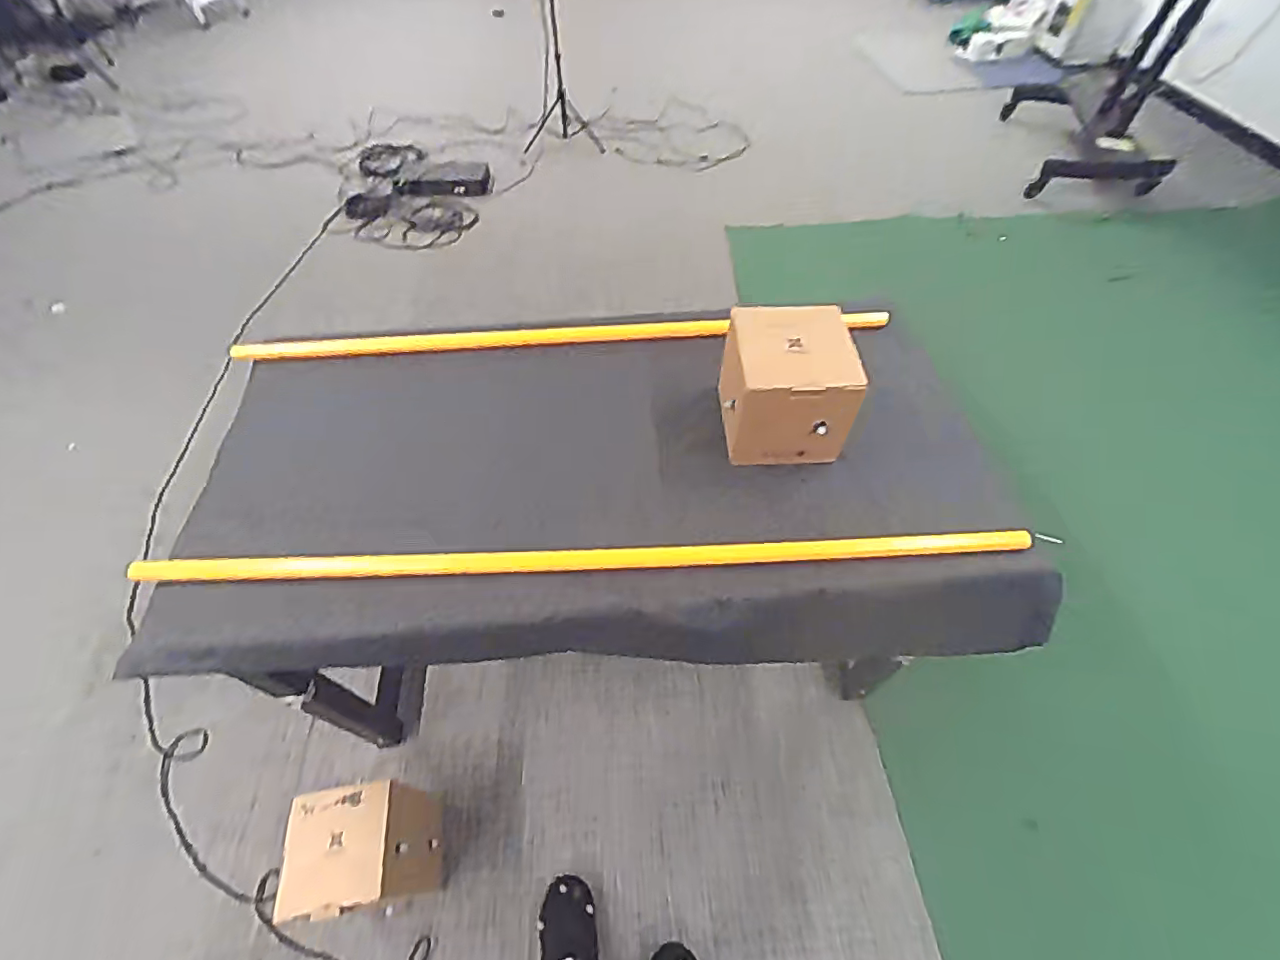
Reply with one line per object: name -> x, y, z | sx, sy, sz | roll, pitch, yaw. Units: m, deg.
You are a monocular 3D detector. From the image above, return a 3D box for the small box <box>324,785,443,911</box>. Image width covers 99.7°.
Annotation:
small box -> -0.507, 0.742, 1.094 | 0.168, 0.176, 0.179 | -10, 55, -7

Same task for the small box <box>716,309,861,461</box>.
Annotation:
small box -> 0.214, -0.141, 0.835 | 0.168, 0.176, 0.179 | -1, 52, -2
